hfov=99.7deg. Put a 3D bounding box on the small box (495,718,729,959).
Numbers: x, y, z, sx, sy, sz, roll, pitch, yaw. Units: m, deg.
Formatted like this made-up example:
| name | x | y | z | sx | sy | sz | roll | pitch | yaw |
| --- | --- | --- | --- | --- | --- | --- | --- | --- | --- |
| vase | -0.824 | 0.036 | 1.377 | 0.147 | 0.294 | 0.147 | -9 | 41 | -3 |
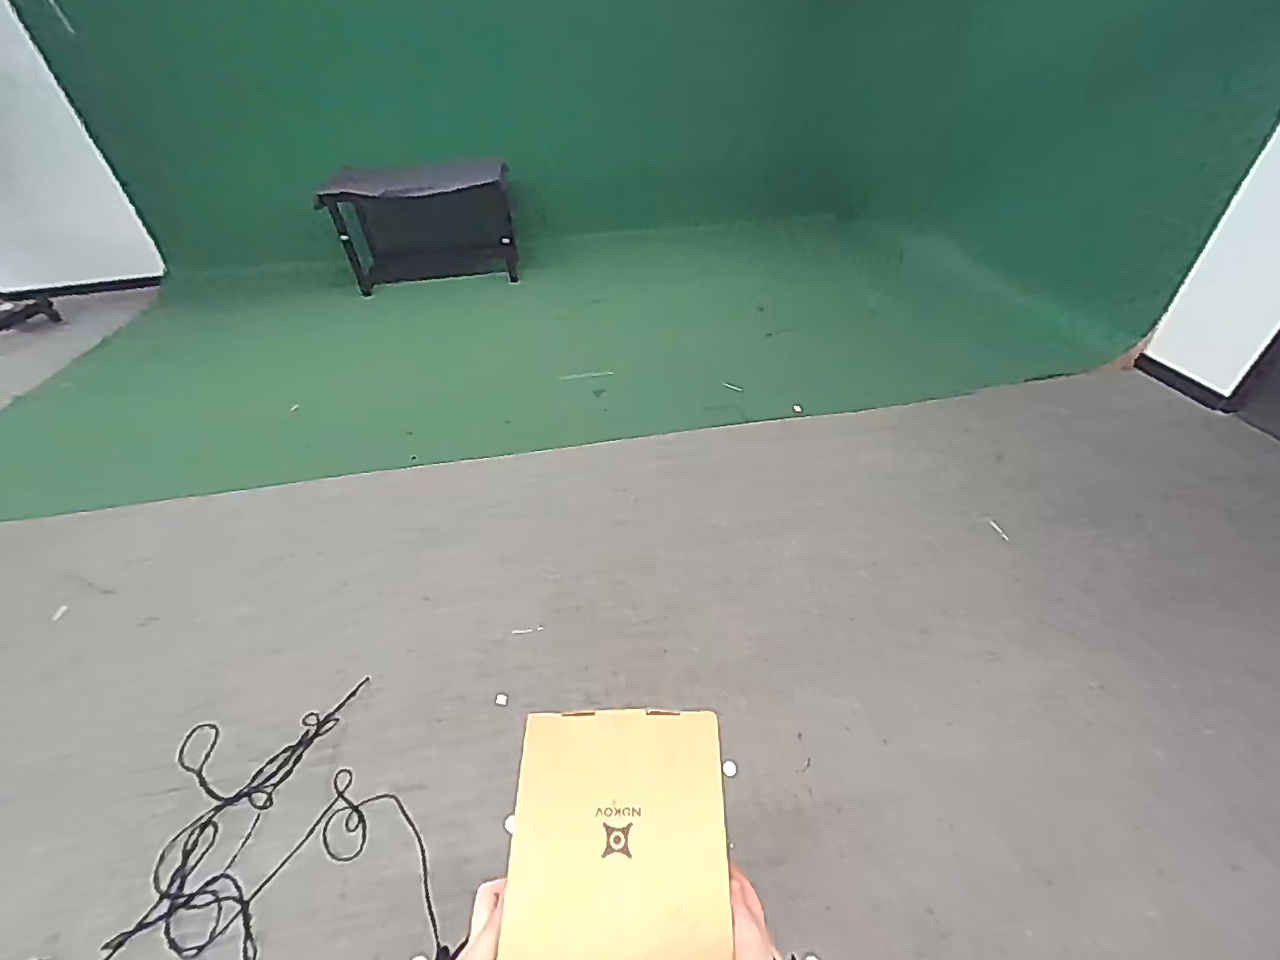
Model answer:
| name | x | y | z | sx | sy | sz | roll | pitch | yaw |
| --- | --- | --- | --- | --- | --- | --- | --- | --- | --- |
| small box | -0.012 | 0.321 | 0.472 | 0.168 | 0.176 | 0.179 | -2 | 52 | 3 |
